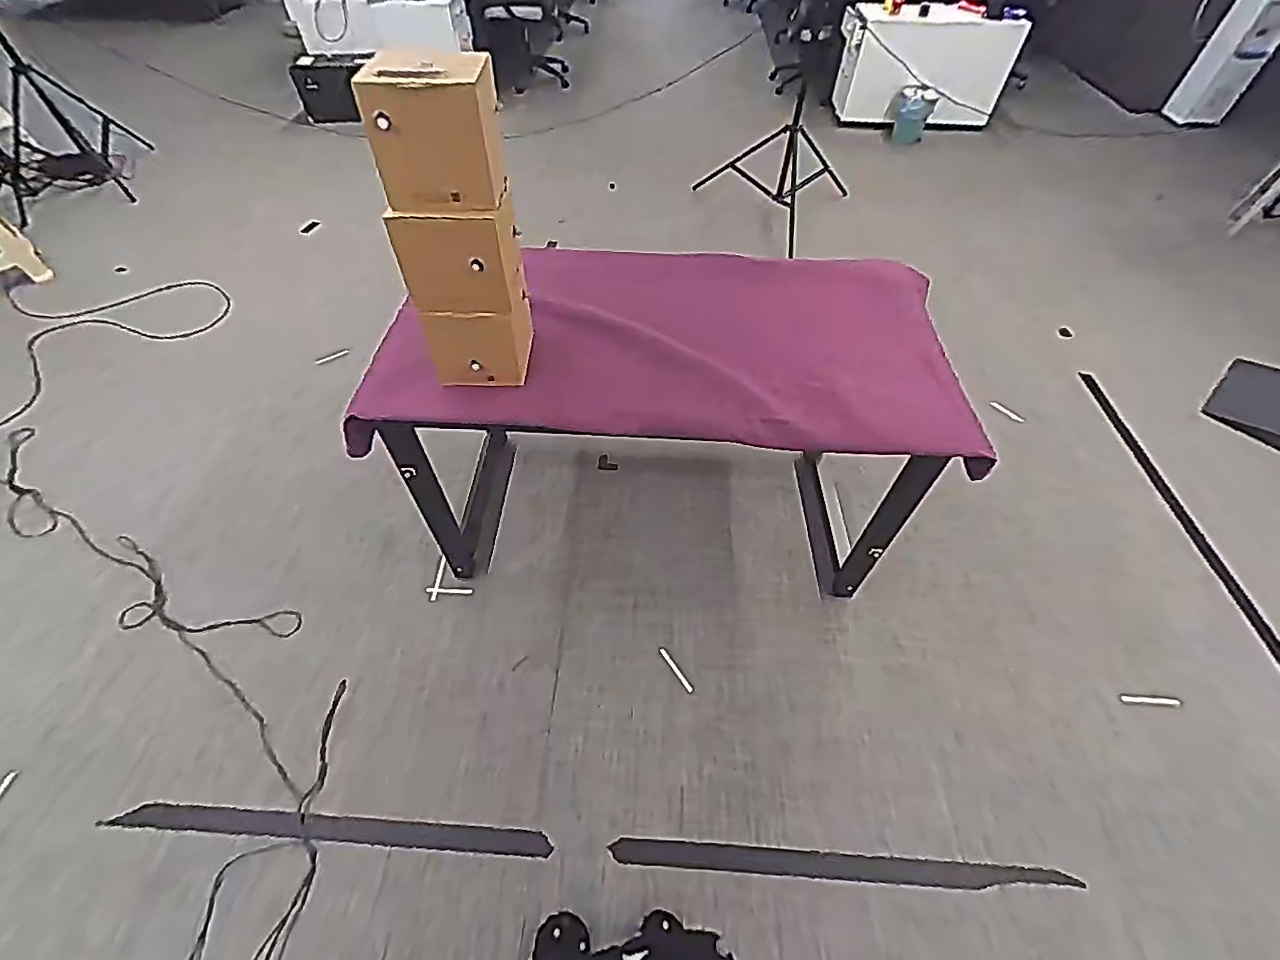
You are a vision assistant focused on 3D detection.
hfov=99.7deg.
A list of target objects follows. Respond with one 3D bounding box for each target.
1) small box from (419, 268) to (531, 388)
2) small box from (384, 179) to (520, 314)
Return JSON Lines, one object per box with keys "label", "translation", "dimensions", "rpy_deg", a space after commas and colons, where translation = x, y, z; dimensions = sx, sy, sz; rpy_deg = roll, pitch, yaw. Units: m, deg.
{"label": "small box", "translation": [-0.316, -0.304, 1.076], "dimensions": [0.168, 0.176, 0.179], "rpy_deg": [0, 52, -1]}
{"label": "small box", "translation": [-0.314, -0.406, 0.950], "dimensions": [0.179, 0.176, 0.168], "rpy_deg": [-1, 50, -1]}
